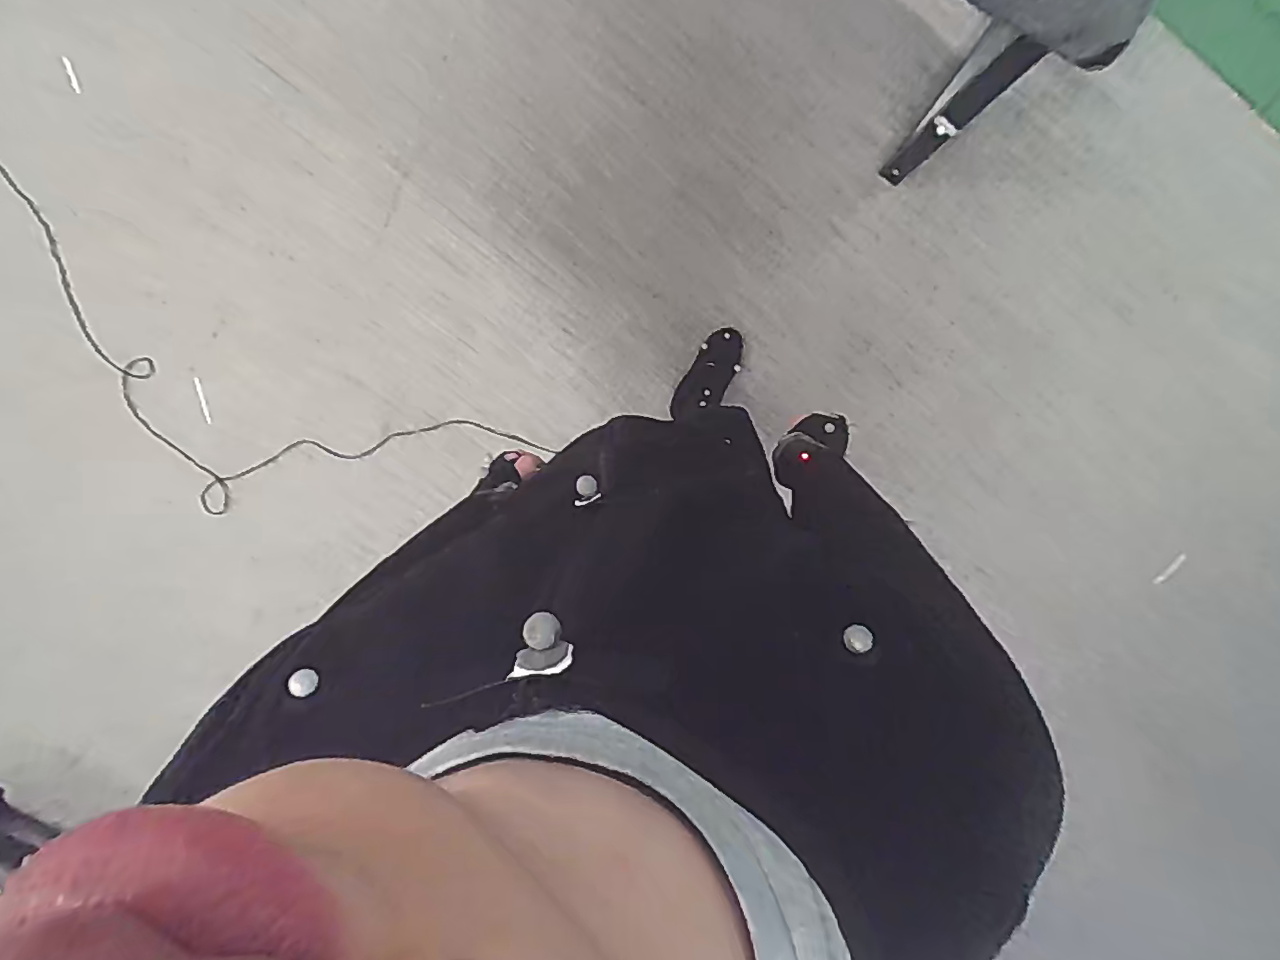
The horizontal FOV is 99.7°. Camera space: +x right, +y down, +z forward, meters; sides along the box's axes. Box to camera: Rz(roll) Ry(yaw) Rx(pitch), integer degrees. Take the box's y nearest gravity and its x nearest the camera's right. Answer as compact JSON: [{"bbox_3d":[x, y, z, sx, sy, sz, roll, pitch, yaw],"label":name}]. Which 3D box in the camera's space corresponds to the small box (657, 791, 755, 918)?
[{"bbox_3d":[0.158,0.913,1.336,0.179,0.176,0.168,27,105,-3],"label":"small box"}]
